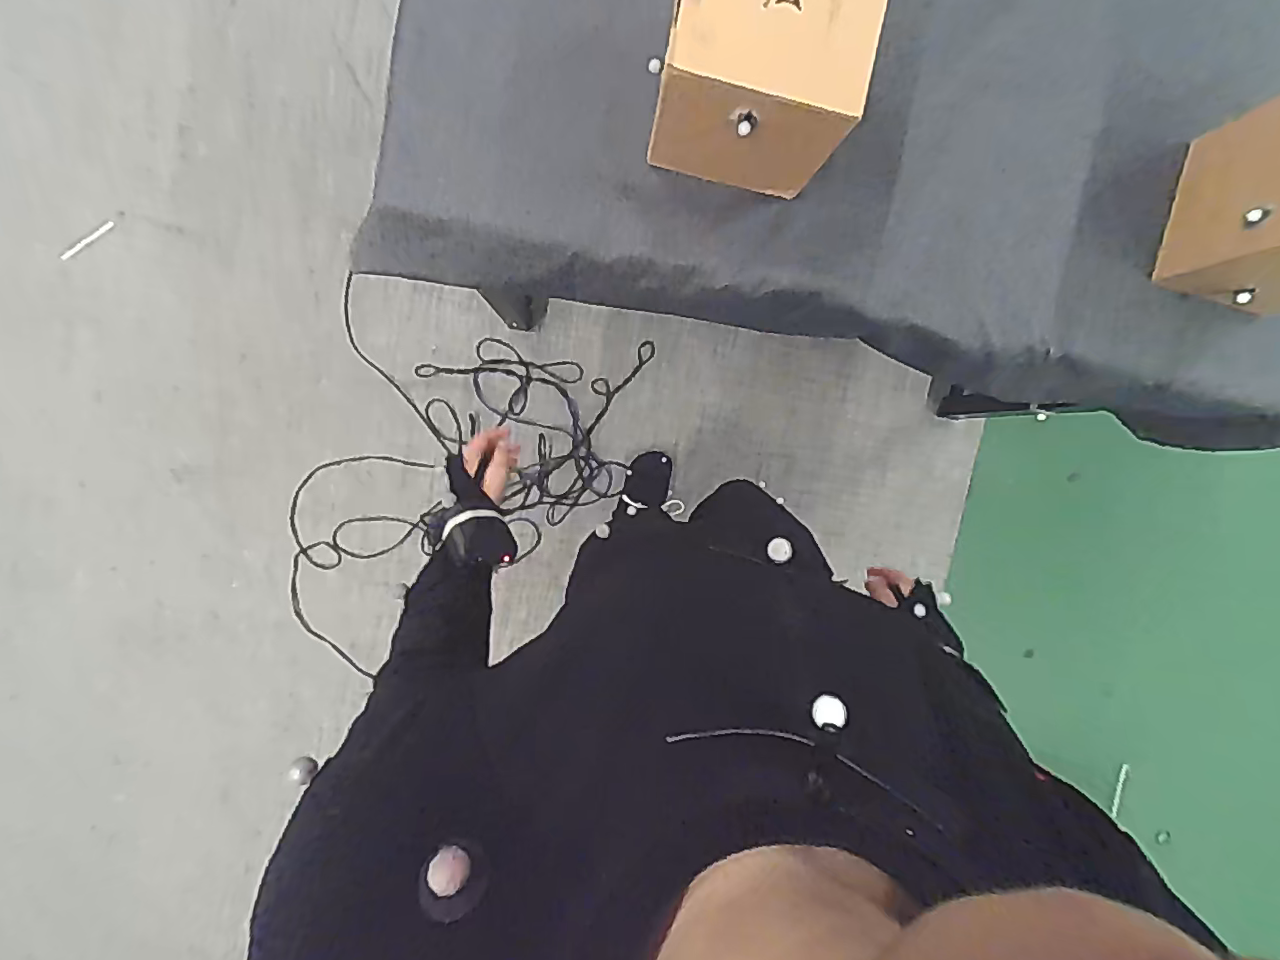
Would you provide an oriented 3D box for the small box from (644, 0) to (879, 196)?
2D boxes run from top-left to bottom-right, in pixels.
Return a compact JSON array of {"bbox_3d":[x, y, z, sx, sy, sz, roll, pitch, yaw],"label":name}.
[{"bbox_3d":[0.107,-0.408,0.527,0.179,0.176,0.168,11,94,-7],"label":"small box"}]
